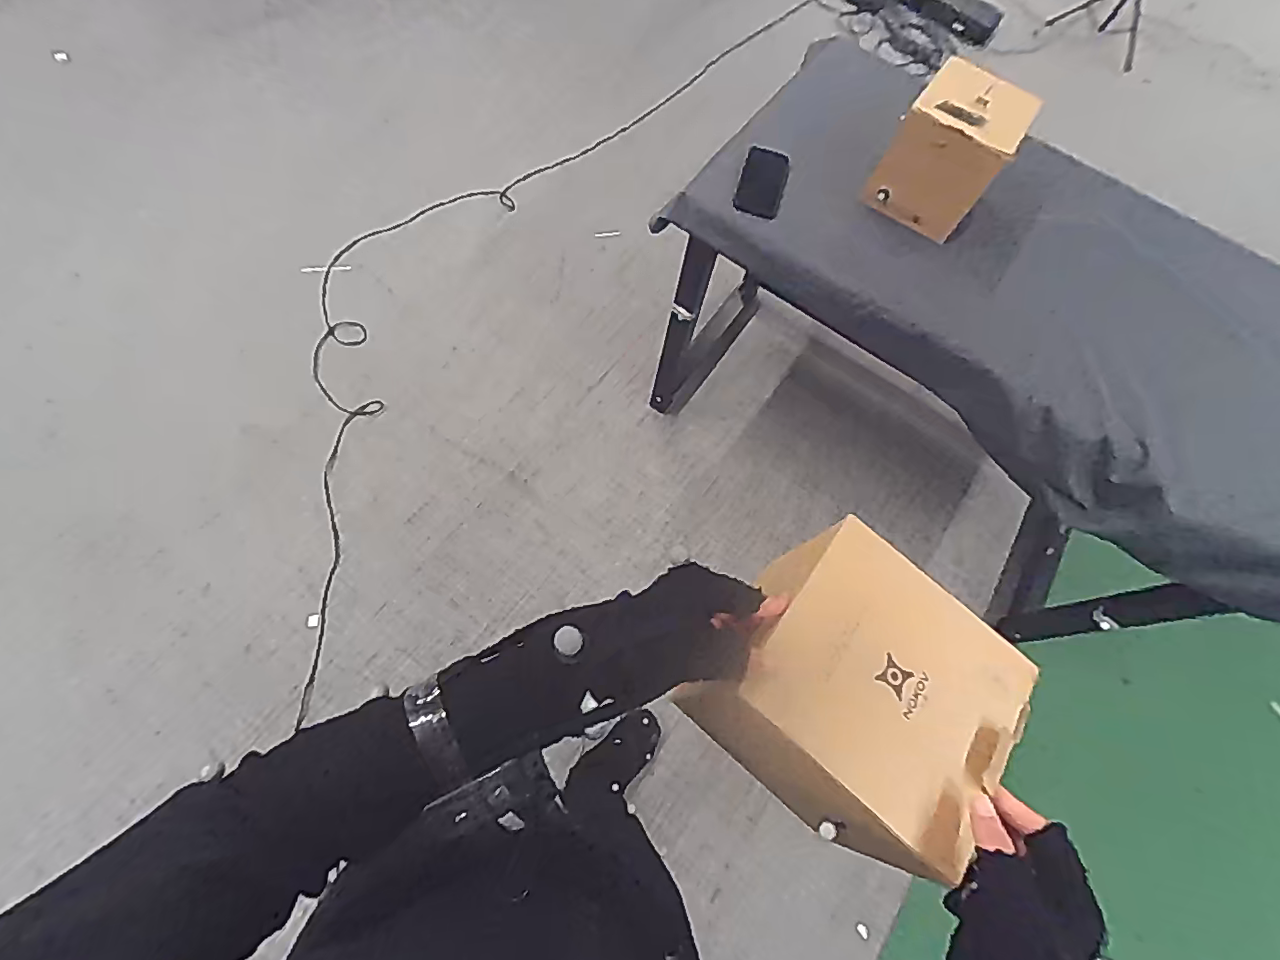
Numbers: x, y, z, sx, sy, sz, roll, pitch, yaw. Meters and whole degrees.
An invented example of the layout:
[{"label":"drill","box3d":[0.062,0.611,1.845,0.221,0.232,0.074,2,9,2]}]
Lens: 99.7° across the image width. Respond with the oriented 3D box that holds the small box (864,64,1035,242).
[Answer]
[{"label":"small box","box3d":[0.512,-0.546,0.919,0.168,0.176,0.179,34,67,7]}]
